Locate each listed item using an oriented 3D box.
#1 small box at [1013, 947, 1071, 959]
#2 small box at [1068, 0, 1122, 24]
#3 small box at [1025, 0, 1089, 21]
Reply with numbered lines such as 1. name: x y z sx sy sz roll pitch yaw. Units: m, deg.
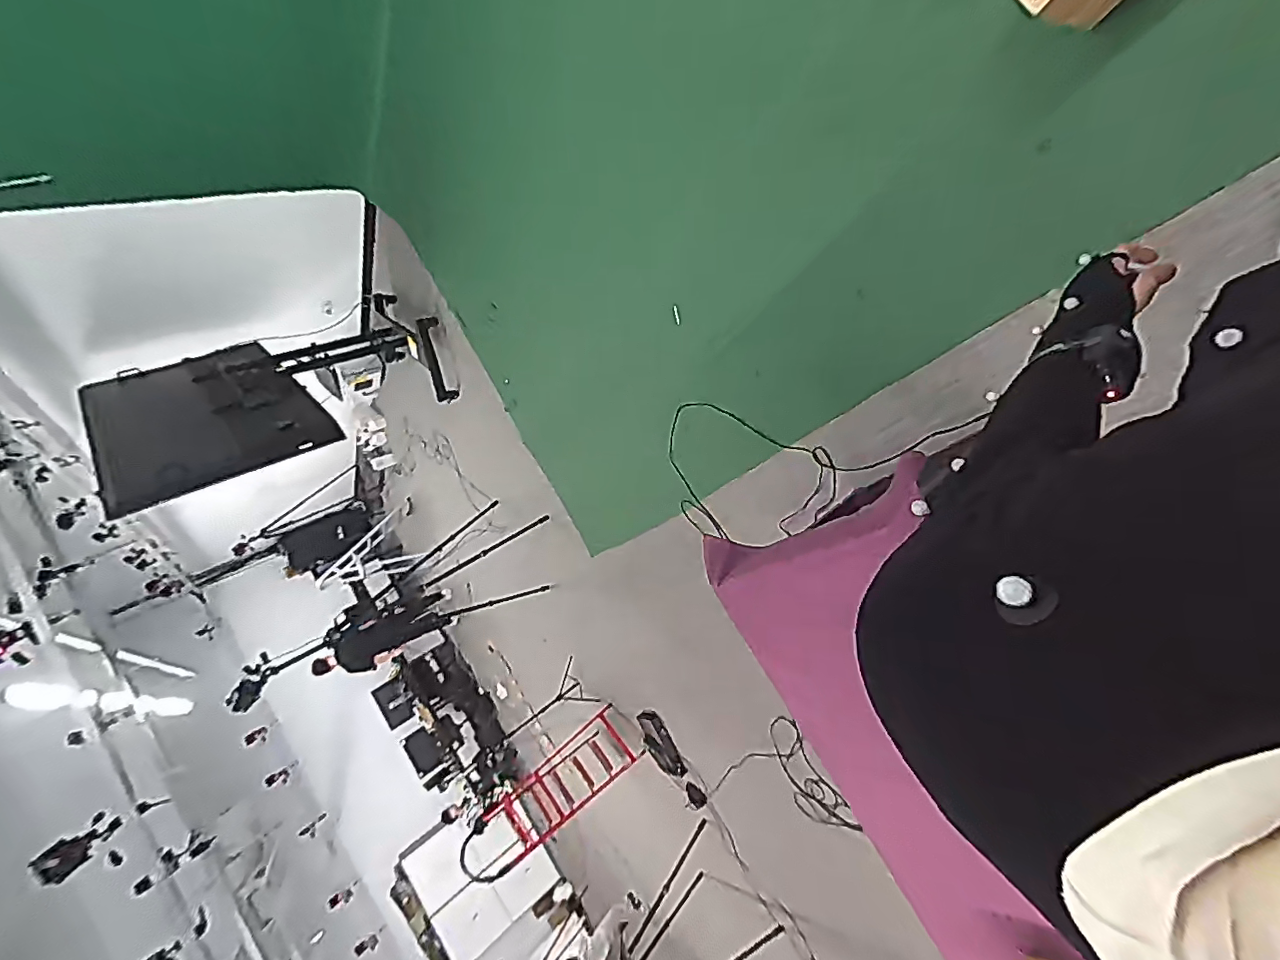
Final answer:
1. small box: 0.856 1.093 1.078 0.168 0.176 0.179 55 145 10
2. small box: 0.839 -0.971 0.975 0.179 0.176 0.168 59 147 6
3. small box: 0.716 -0.907 0.888 0.168 0.176 0.179 57 146 9
